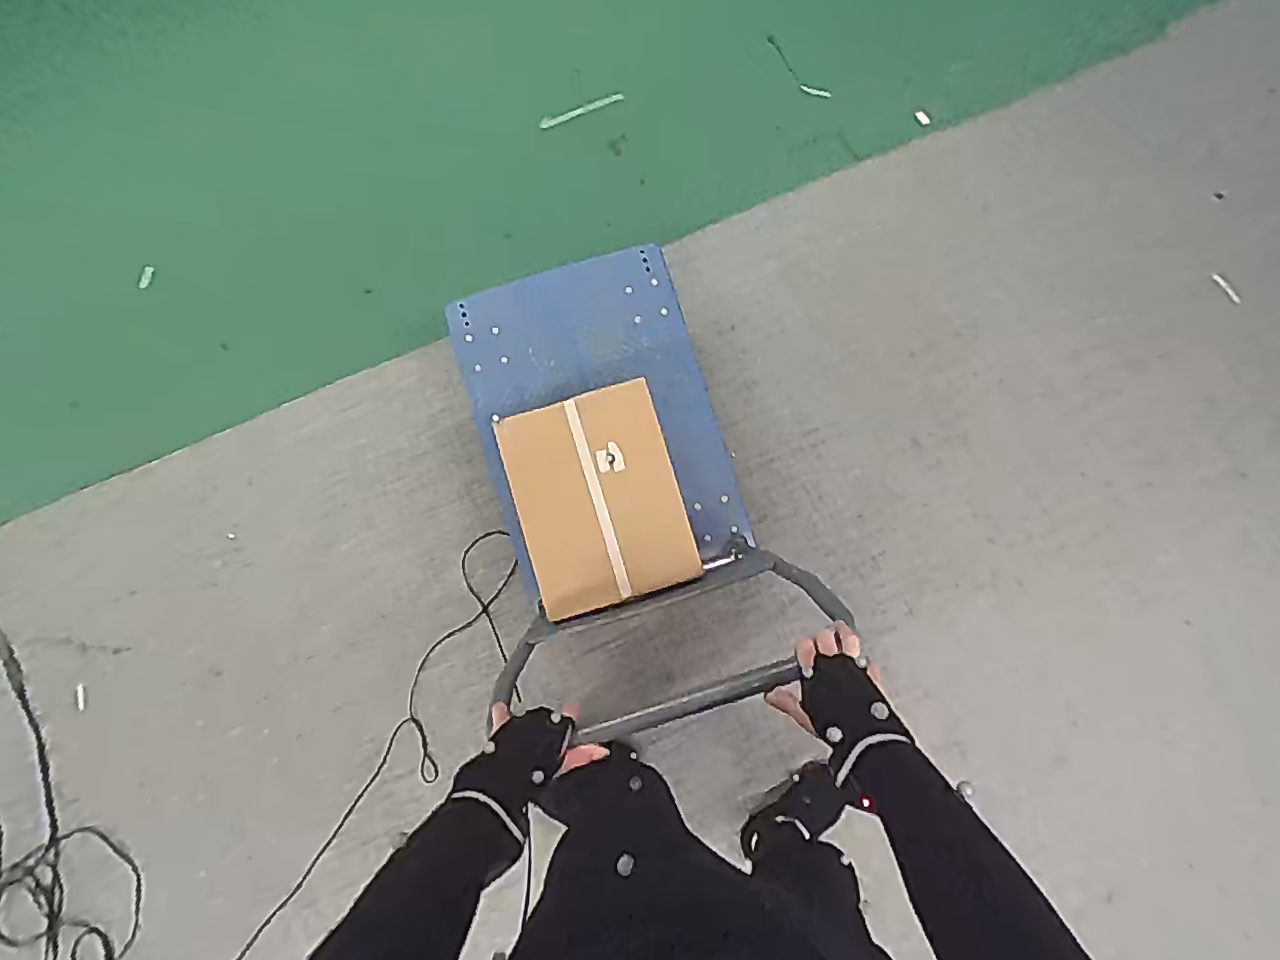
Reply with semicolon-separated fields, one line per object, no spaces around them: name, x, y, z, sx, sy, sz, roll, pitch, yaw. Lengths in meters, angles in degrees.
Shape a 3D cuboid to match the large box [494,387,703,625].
large box;-0.081;0.059;1.199;0.320;0.320;0.408;-17;85;-2
